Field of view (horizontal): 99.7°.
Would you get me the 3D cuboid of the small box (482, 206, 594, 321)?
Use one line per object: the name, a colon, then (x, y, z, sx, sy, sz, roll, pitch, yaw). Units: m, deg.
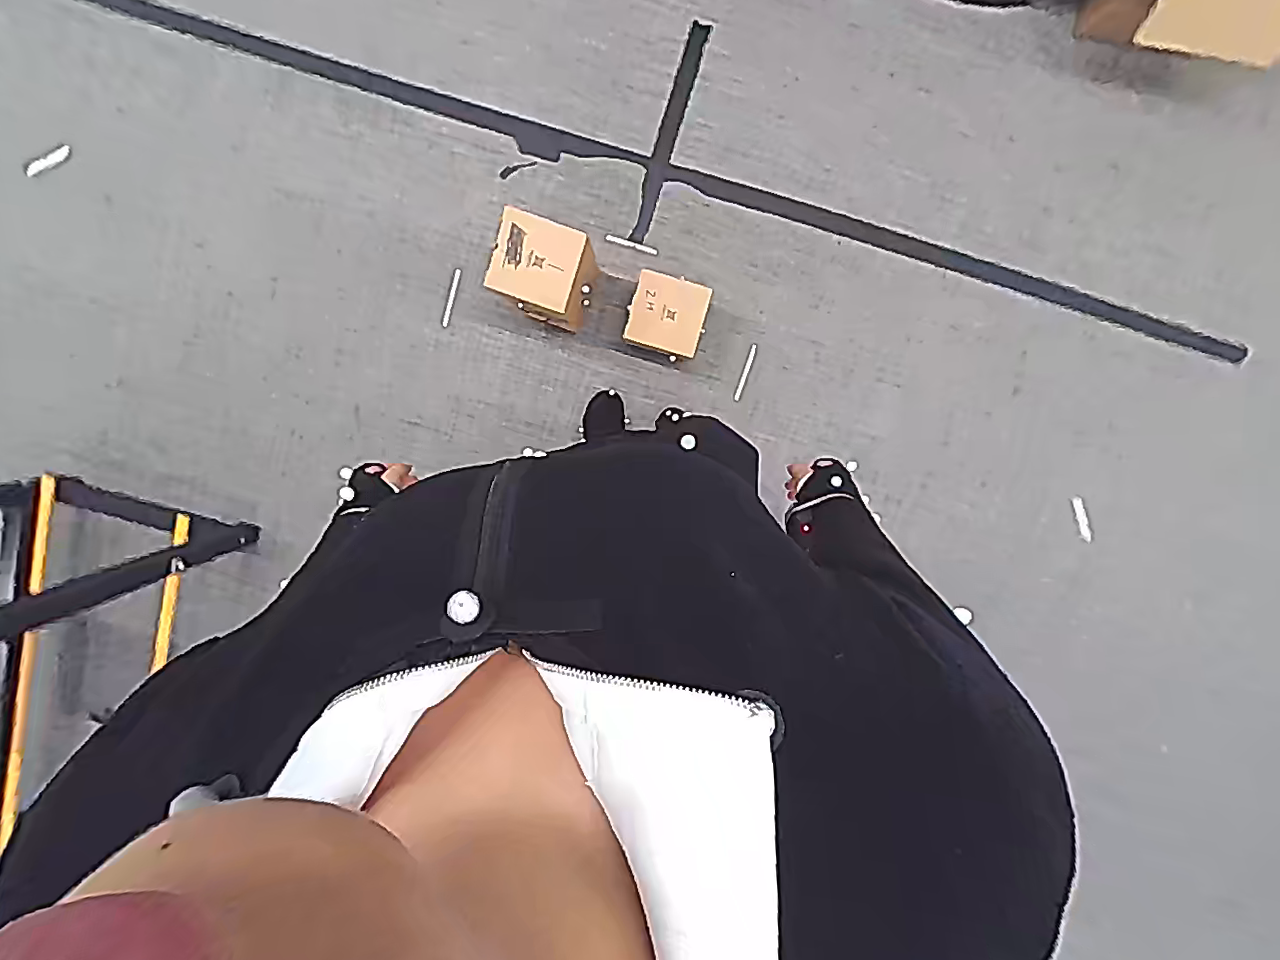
small box: (-0.211, -0.453, 1.163, 0.179, 0.176, 0.168, 19, 100, -3)

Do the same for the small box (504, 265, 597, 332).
small box: (-0.212, -0.476, 1.328, 0.168, 0.176, 0.179, 20, 100, -2)

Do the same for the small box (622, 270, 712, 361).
small box: (0.064, -0.397, 1.336, 0.179, 0.176, 0.168, 17, 100, -2)
